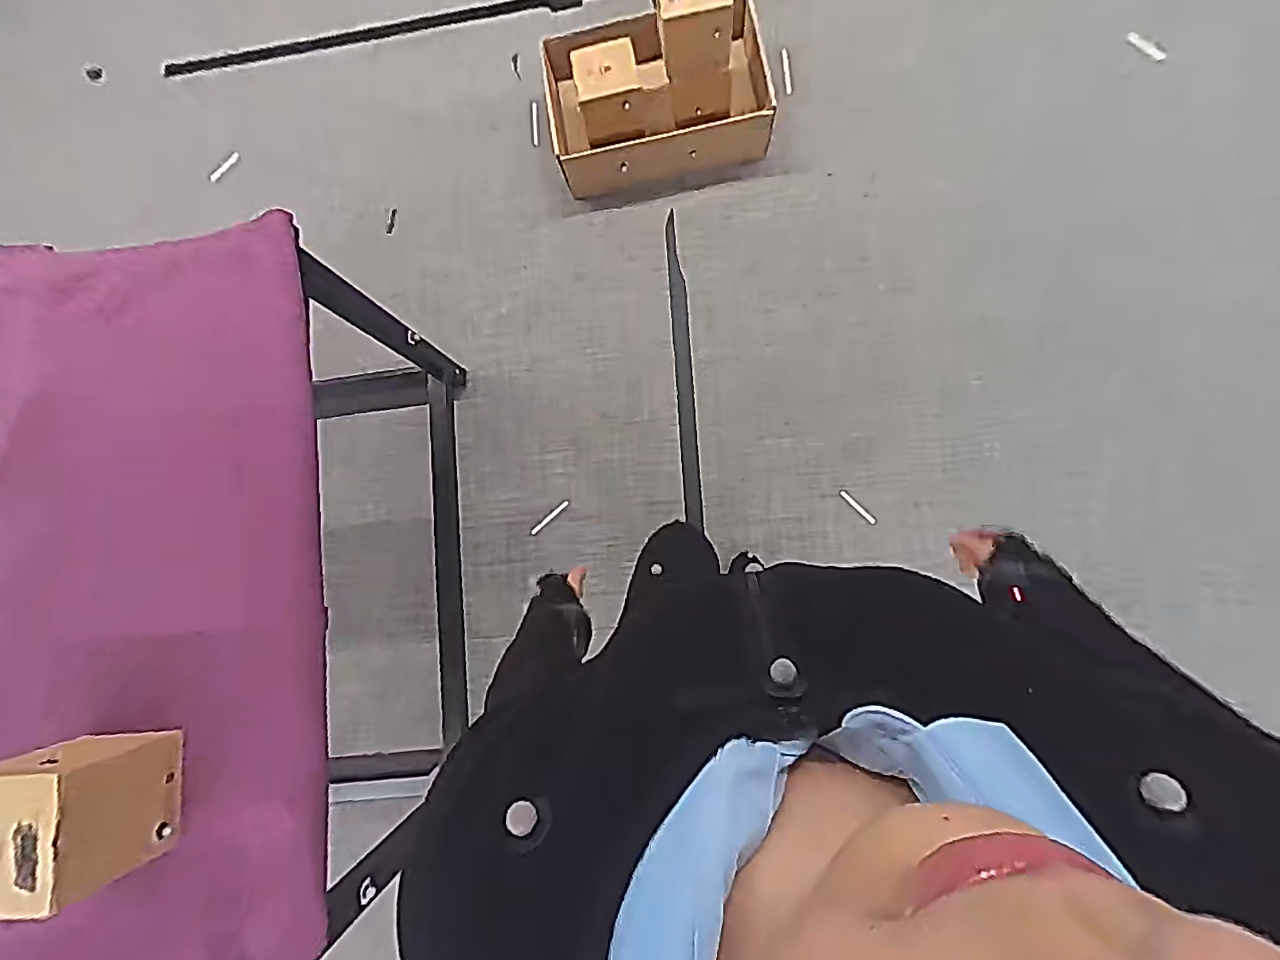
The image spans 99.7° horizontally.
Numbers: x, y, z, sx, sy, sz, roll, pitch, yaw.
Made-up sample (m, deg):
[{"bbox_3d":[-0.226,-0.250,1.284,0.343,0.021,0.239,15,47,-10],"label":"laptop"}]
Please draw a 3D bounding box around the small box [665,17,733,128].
[{"bbox_3d":[0.168,-1.162,1.551,0.168,0.176,0.179,-10,82,6],"label":"small box"}]

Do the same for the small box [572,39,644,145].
[{"bbox_3d":[-0.087,-1.118,1.570,0.179,0.176,0.168,-11,80,3],"label":"small box"}]

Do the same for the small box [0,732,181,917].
[{"bbox_3d":[-0.787,0.461,0.747,0.179,0.176,0.168,-5,81,5],"label":"small box"}]
